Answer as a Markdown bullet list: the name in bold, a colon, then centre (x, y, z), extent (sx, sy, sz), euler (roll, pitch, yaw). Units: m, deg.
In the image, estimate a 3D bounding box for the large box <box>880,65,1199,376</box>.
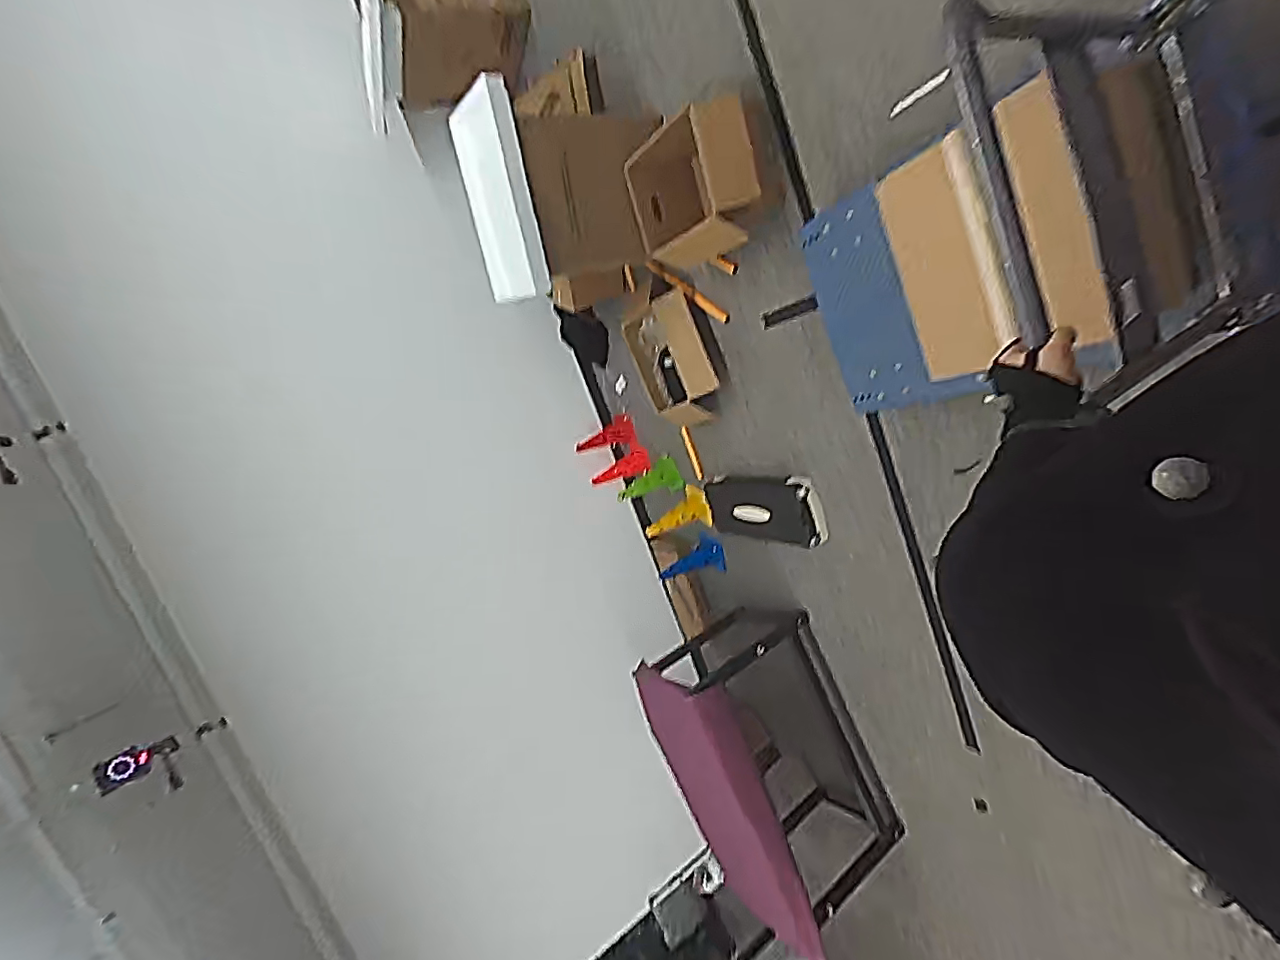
- **large box**: centre (0.724, -0.453, 0.995), extent (0.320, 0.320, 0.408), euler (-8, 104, 63)
